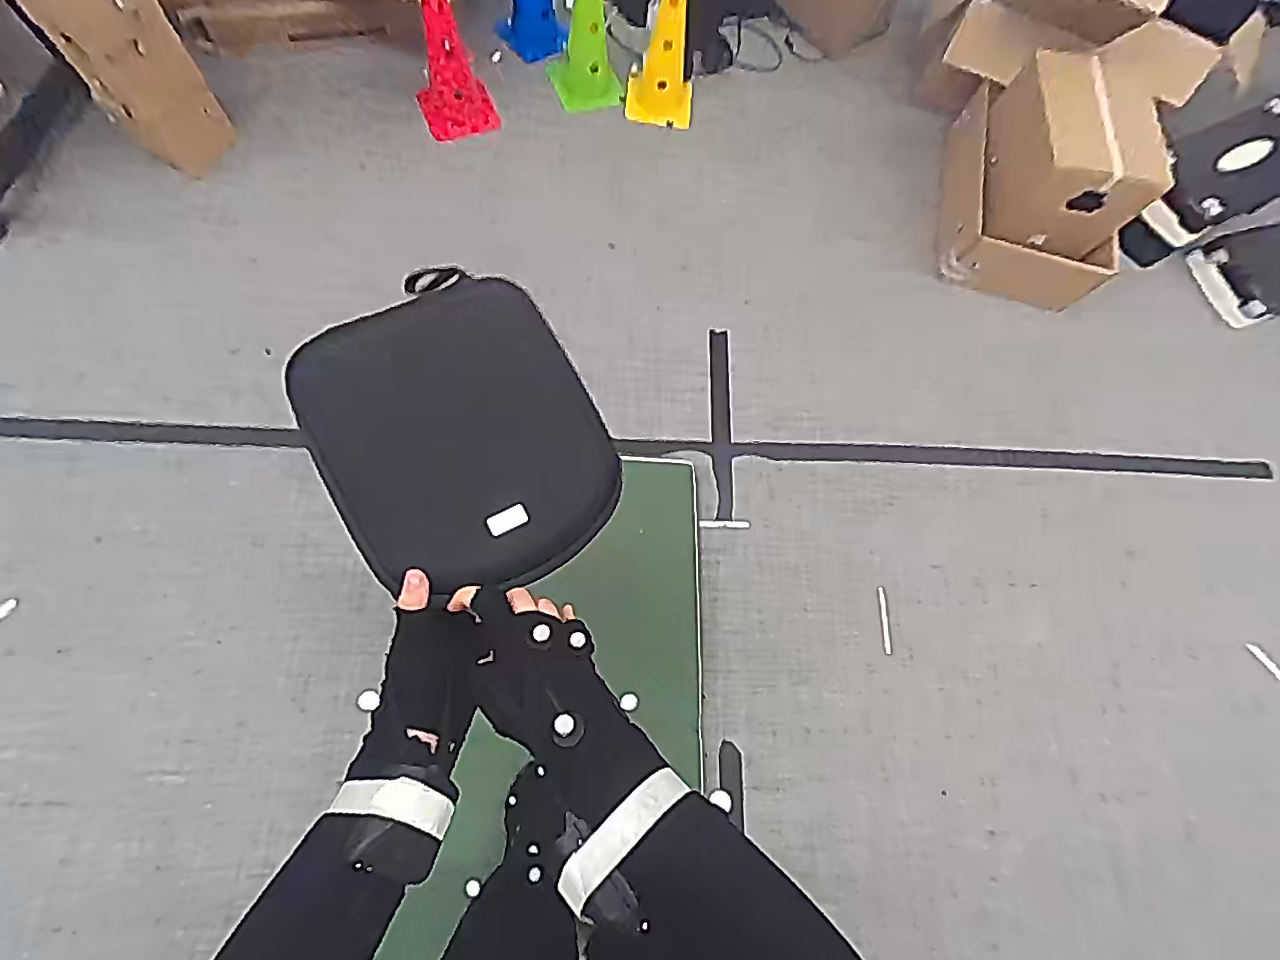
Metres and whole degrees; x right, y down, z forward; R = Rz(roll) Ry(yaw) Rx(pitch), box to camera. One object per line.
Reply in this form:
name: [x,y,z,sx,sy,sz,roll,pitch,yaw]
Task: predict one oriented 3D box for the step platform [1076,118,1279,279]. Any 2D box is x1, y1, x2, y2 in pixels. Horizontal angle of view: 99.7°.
step platform: [1.780,-0.911,1.738,0.684,0.204,0.286,-27,78,-14]
